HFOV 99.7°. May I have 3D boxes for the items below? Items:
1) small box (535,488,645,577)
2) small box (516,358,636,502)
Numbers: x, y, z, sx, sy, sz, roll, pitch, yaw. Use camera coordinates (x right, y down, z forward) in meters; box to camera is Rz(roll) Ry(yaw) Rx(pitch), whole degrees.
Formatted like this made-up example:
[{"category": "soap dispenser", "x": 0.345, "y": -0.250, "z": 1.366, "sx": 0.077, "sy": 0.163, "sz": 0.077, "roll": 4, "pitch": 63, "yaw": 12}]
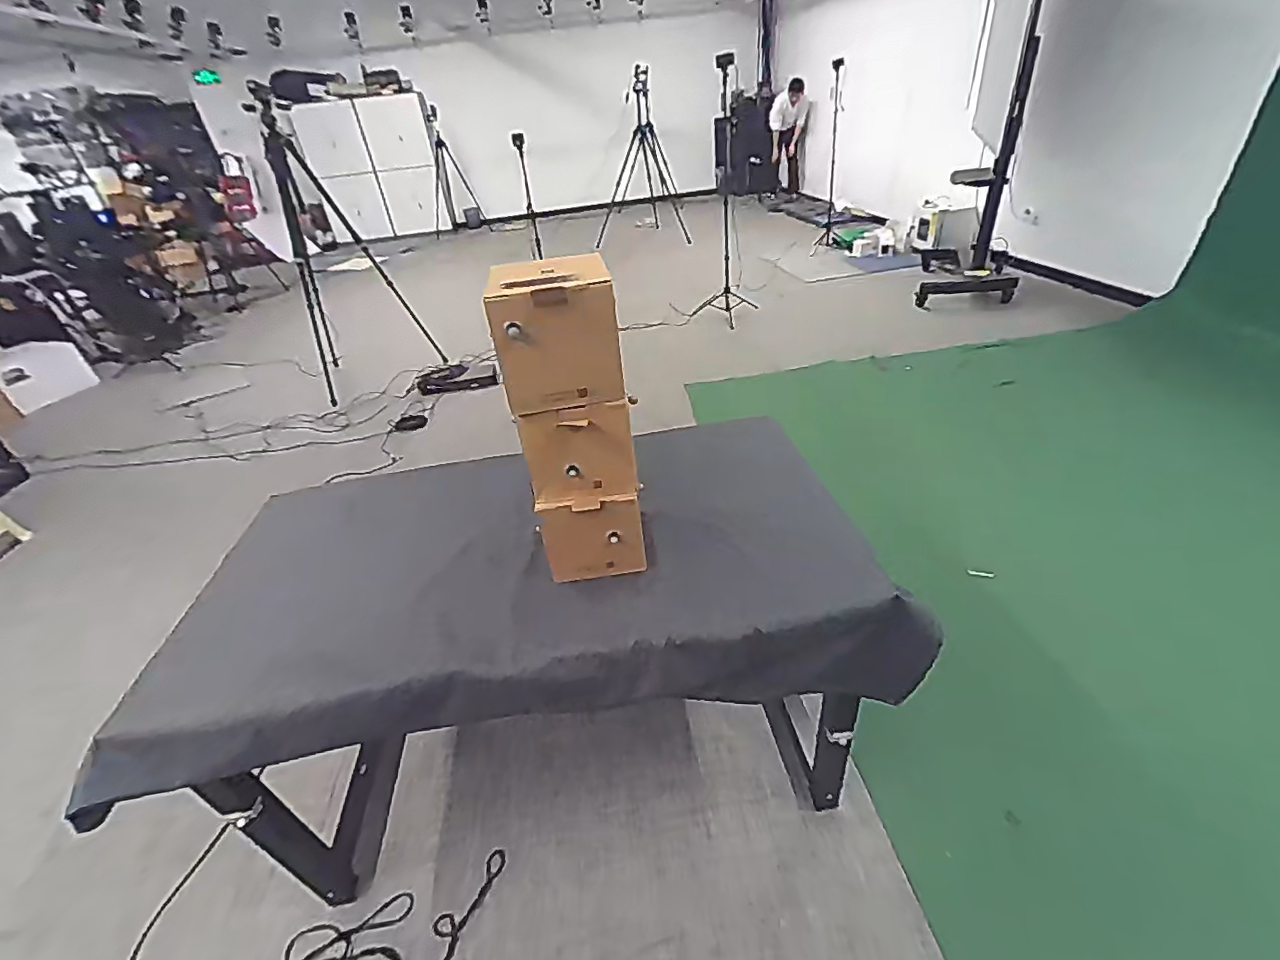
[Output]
[{"category": "small box", "x": -0.084, "y": 0.058, "z": 0.966, "sx": 0.168, "sy": 0.176, "sz": 0.179, "roll": -7, "pitch": 33, "yaw": -1}, {"category": "small box", "x": -0.097, "y": -0.084, "z": 0.888, "sx": 0.168, "sy": 0.176, "sz": 0.179, "roll": -6, "pitch": 35, "yaw": -1}]
